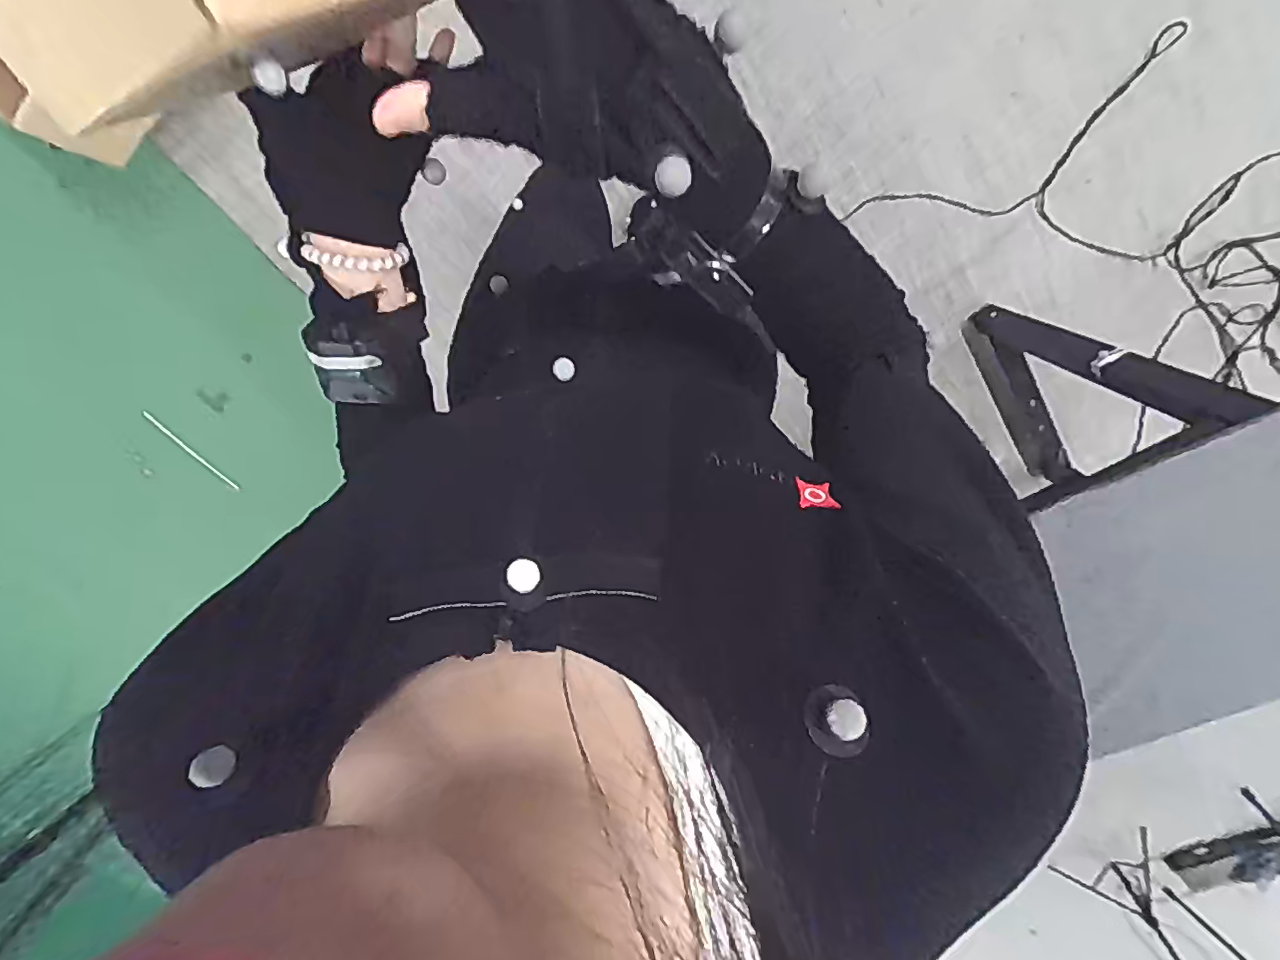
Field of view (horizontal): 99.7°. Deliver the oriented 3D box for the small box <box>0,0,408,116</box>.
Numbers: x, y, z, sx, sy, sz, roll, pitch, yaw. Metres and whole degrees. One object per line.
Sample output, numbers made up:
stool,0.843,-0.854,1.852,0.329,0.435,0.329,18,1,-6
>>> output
small box,-0.185,-0.273,0.207,0.179,0.176,0.168,9,141,30
